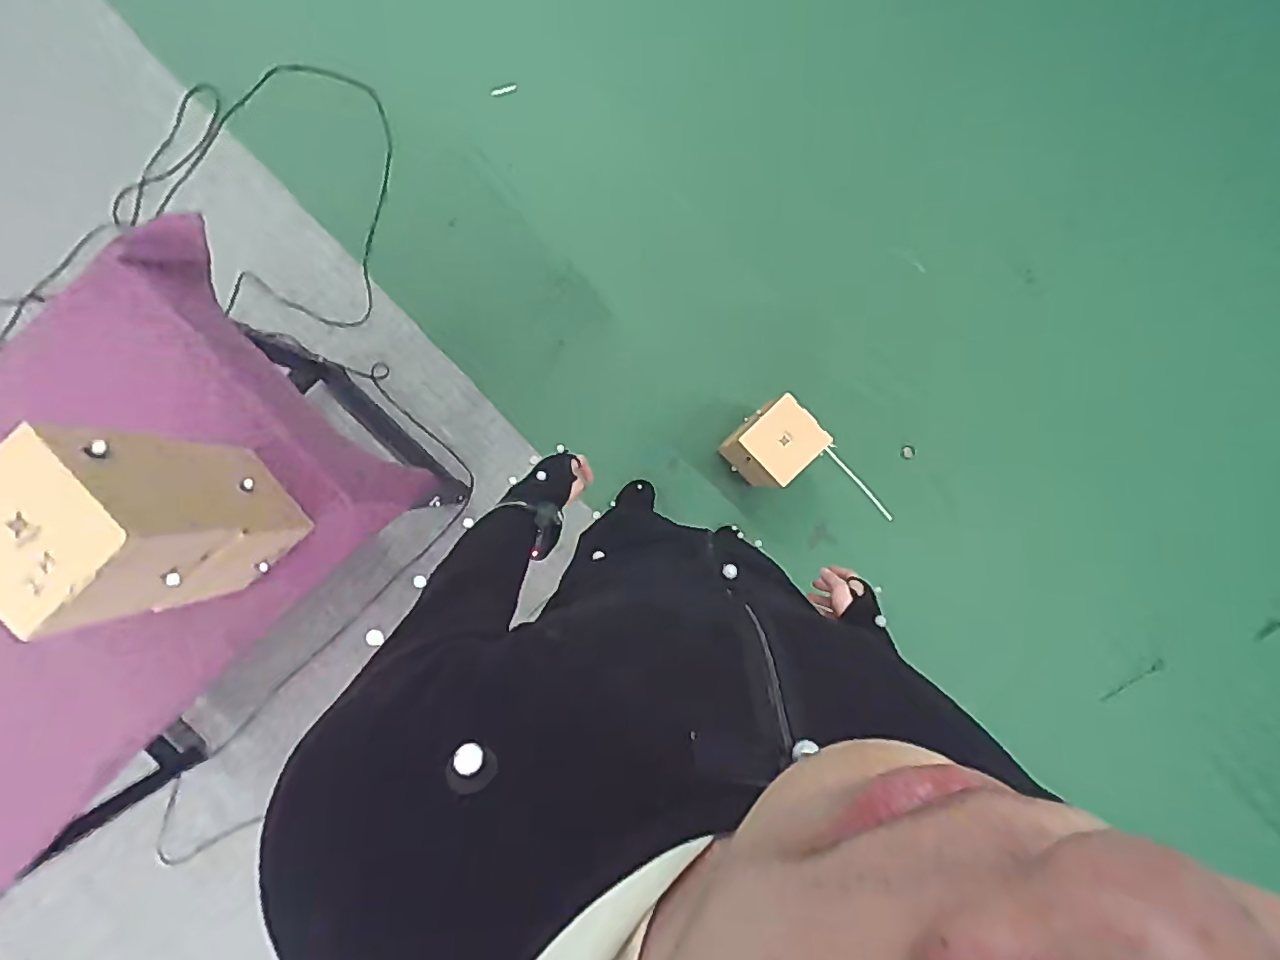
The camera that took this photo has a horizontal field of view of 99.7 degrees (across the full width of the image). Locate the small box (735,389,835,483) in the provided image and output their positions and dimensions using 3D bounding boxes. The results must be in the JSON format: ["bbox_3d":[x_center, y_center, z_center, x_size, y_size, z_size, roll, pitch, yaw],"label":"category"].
[{"bbox_3d":[0.364,-0.106,1.400,0.179,0.176,0.168,-44,89,-2],"label":"small box"}]

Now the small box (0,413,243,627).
[{"bbox_3d":[-0.654,0.044,0.660,0.168,0.176,0.179,-42,90,1],"label":"small box"}]

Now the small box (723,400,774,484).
[{"bbox_3d":[0.360,-0.106,1.561,0.179,0.176,0.168,-43,89,0],"label":"small box"}]
